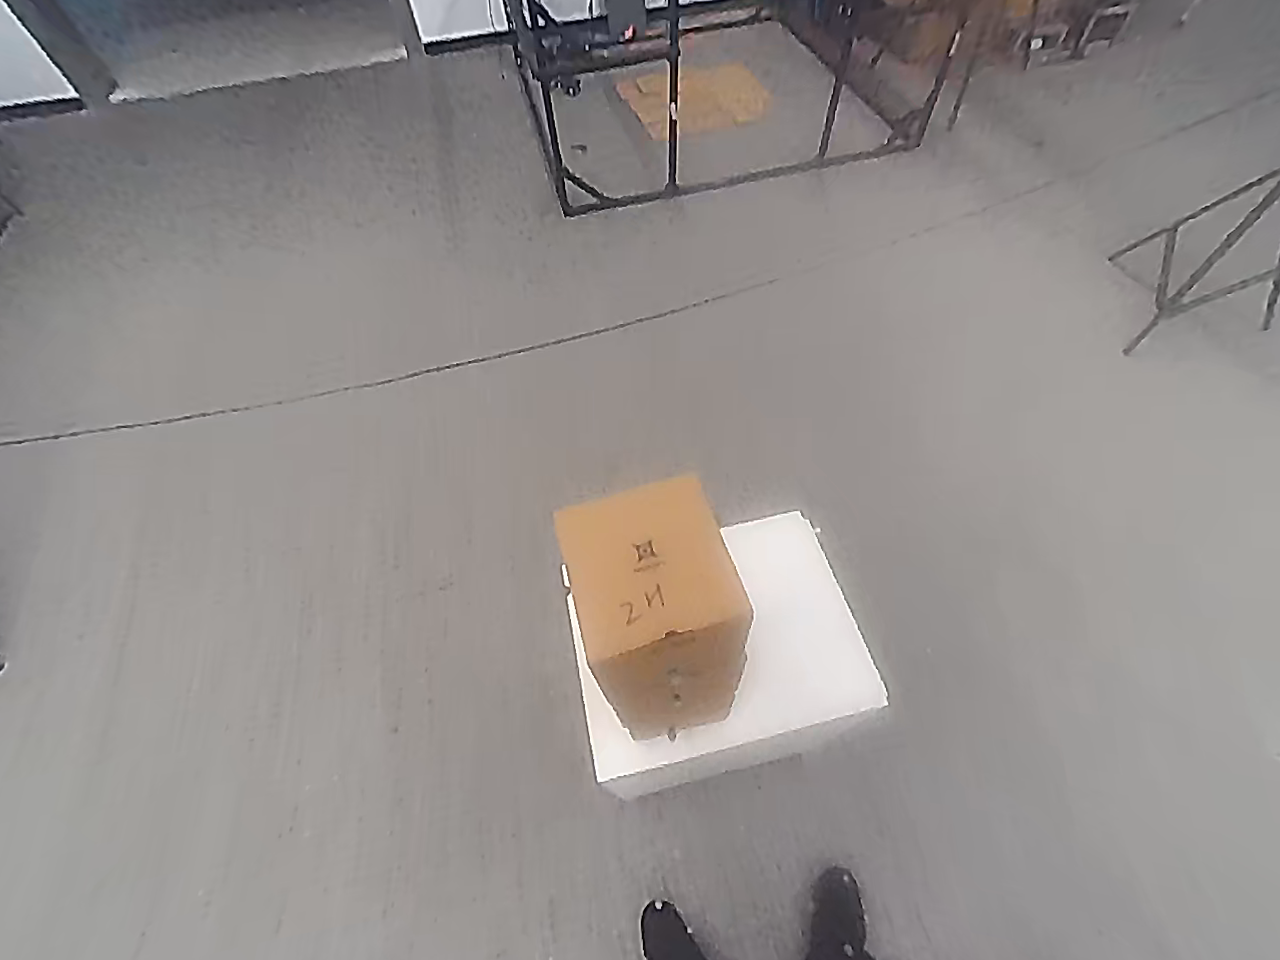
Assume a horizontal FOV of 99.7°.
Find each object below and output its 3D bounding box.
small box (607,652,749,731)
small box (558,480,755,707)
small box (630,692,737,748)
[{"bbox_3d":[0.033,0.227,0.748,0.179,0.176,0.168,-16,56,-6],"label":"small box"},{"bbox_3d":[0.015,0.132,0.614,0.168,0.176,0.179,-16,56,-5],"label":"small box"},{"bbox_3d":[0.048,0.316,0.885,0.168,0.176,0.179,-12,56,-4],"label":"small box"}]
